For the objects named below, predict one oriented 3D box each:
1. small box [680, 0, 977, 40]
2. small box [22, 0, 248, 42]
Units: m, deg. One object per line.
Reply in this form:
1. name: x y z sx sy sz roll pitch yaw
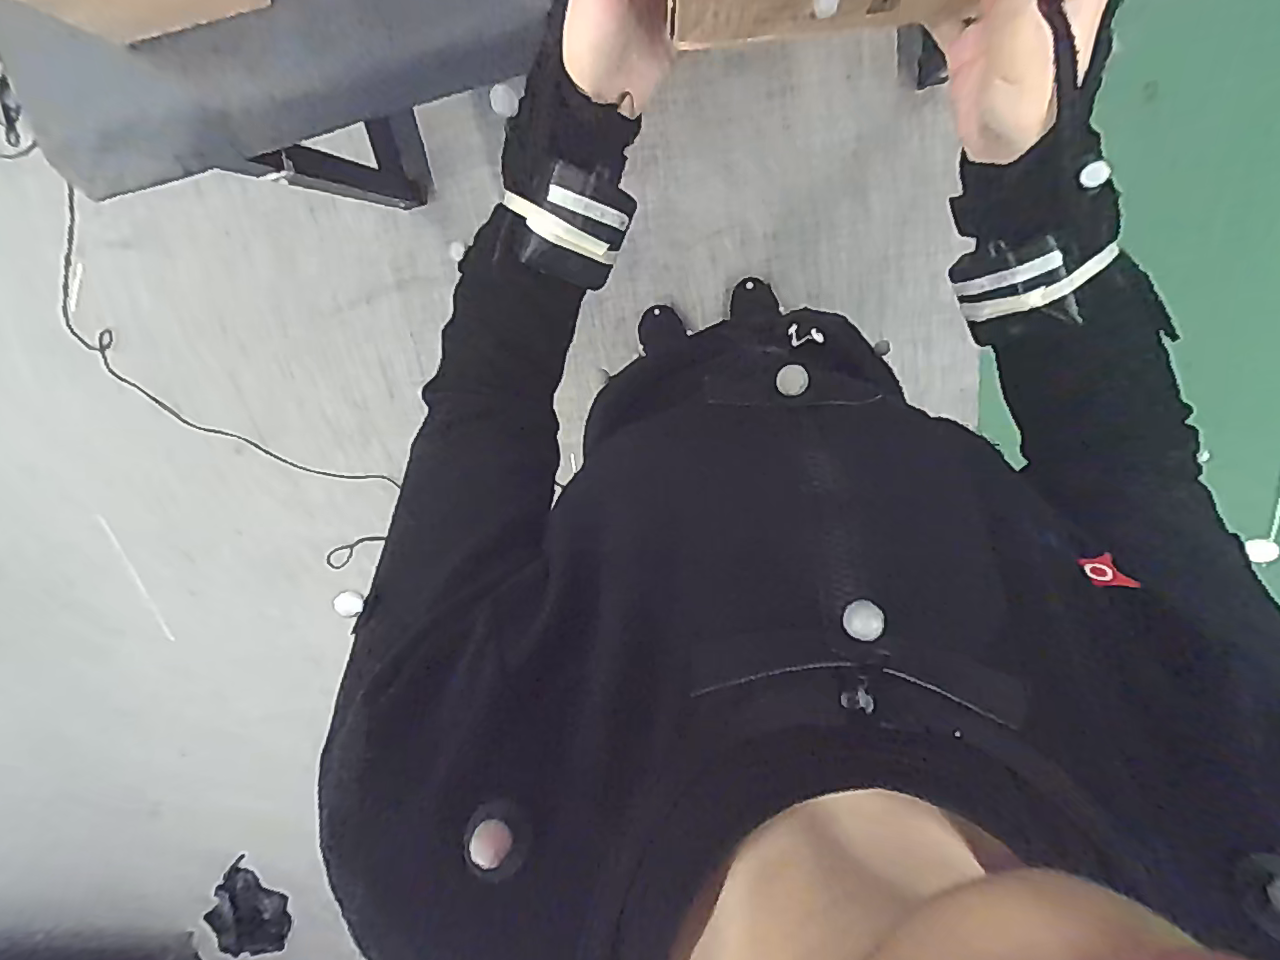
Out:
1. small box: 0.090 -0.294 0.183 0.168 0.176 0.179 -3 111 4
2. small box: -0.451 -0.490 0.424 0.179 0.176 0.168 -6 107 9
